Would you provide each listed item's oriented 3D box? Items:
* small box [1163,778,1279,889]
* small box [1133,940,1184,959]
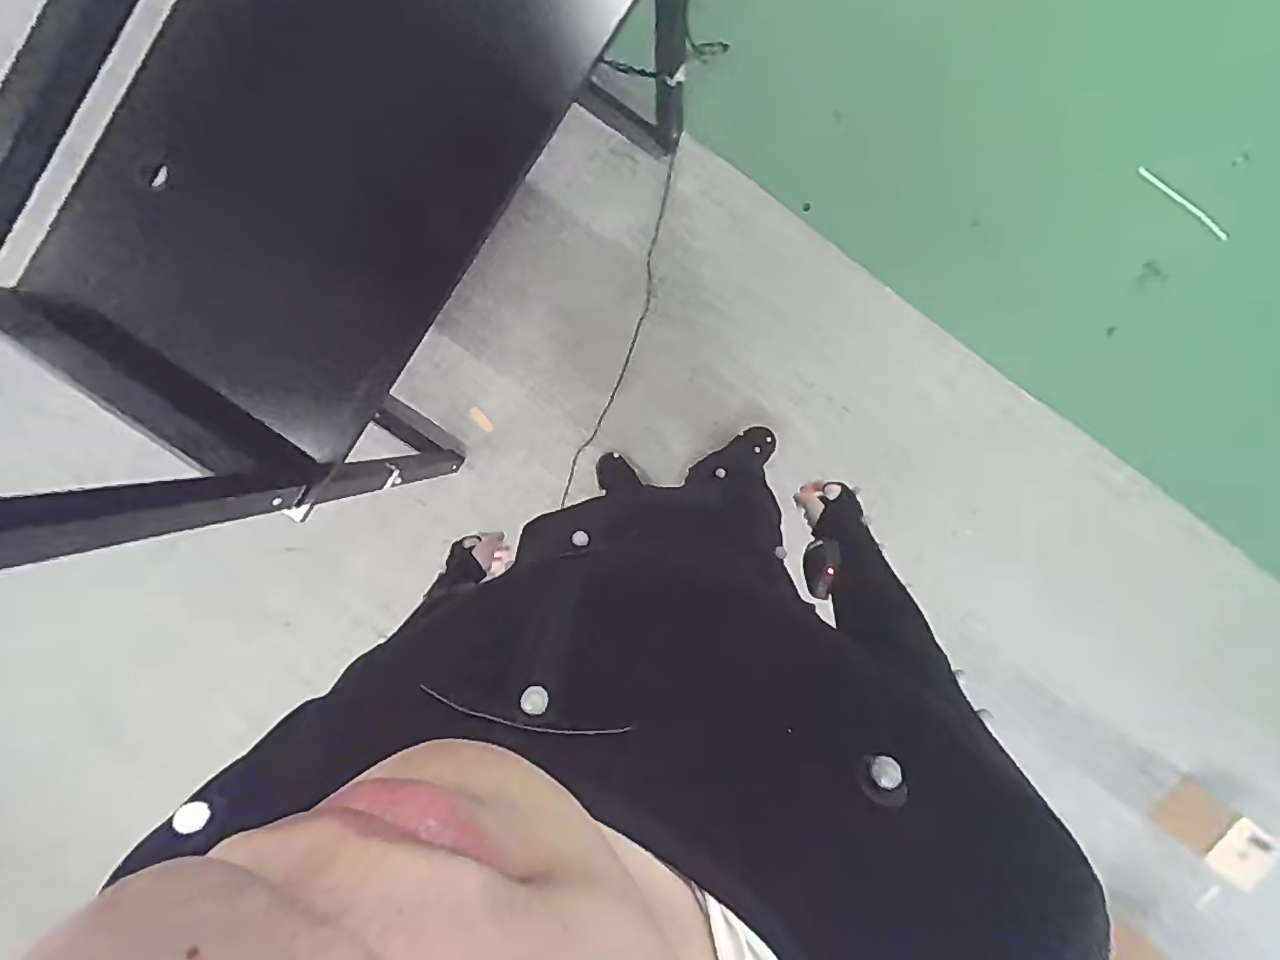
[{"bbox_3d":[1.705,1.017,1.573,0.168,0.176,0.179,35,96,-1],"label":"small box"},{"bbox_3d":[1.456,1.403,1.449,0.168,0.176,0.179,37,96,-1],"label":"small box"}]
